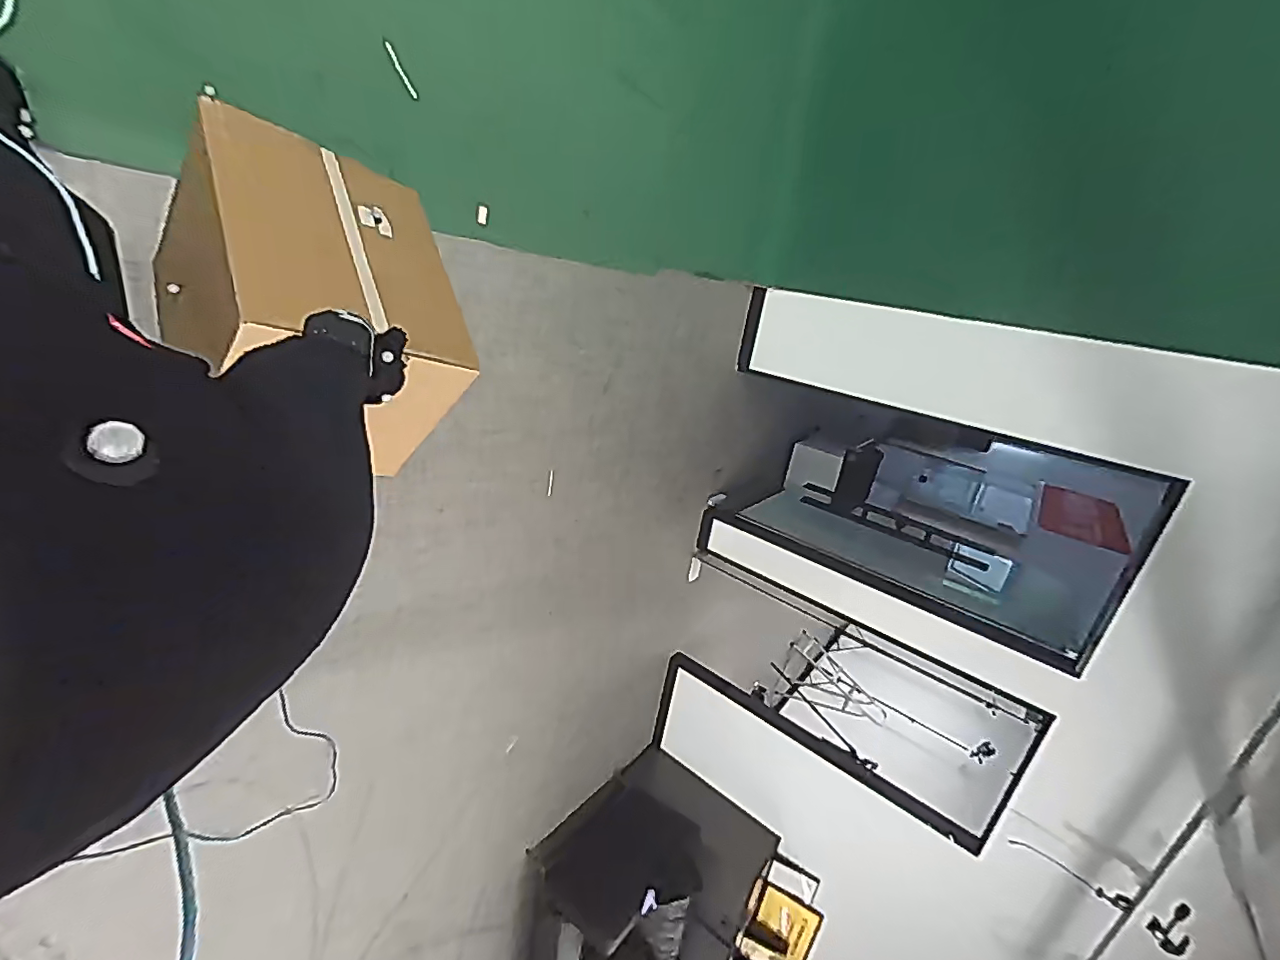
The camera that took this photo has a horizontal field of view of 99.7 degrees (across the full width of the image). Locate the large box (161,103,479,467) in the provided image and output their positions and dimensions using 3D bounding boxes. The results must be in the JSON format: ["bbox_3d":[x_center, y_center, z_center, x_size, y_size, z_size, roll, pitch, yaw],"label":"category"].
[{"bbox_3d":[-0.522,-0.266,0.866,0.320,0.408,0.320,-37,157,31],"label":"large box"}]
